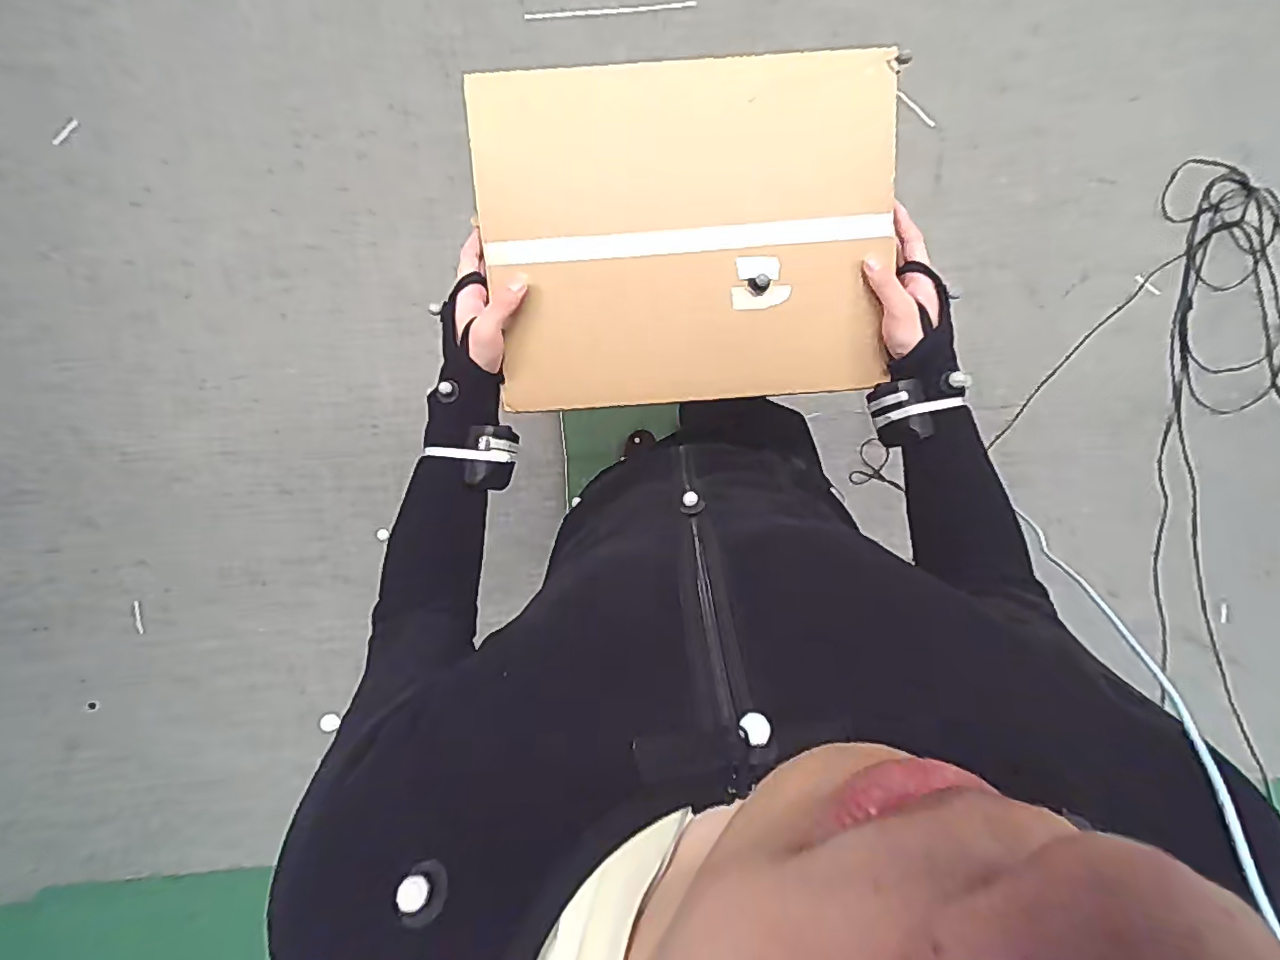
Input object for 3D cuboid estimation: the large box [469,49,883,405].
[{"bbox_3d":[0.039,-0.273,0.688,0.408,0.320,0.320,-5,101,-1],"label":"large box"}]
